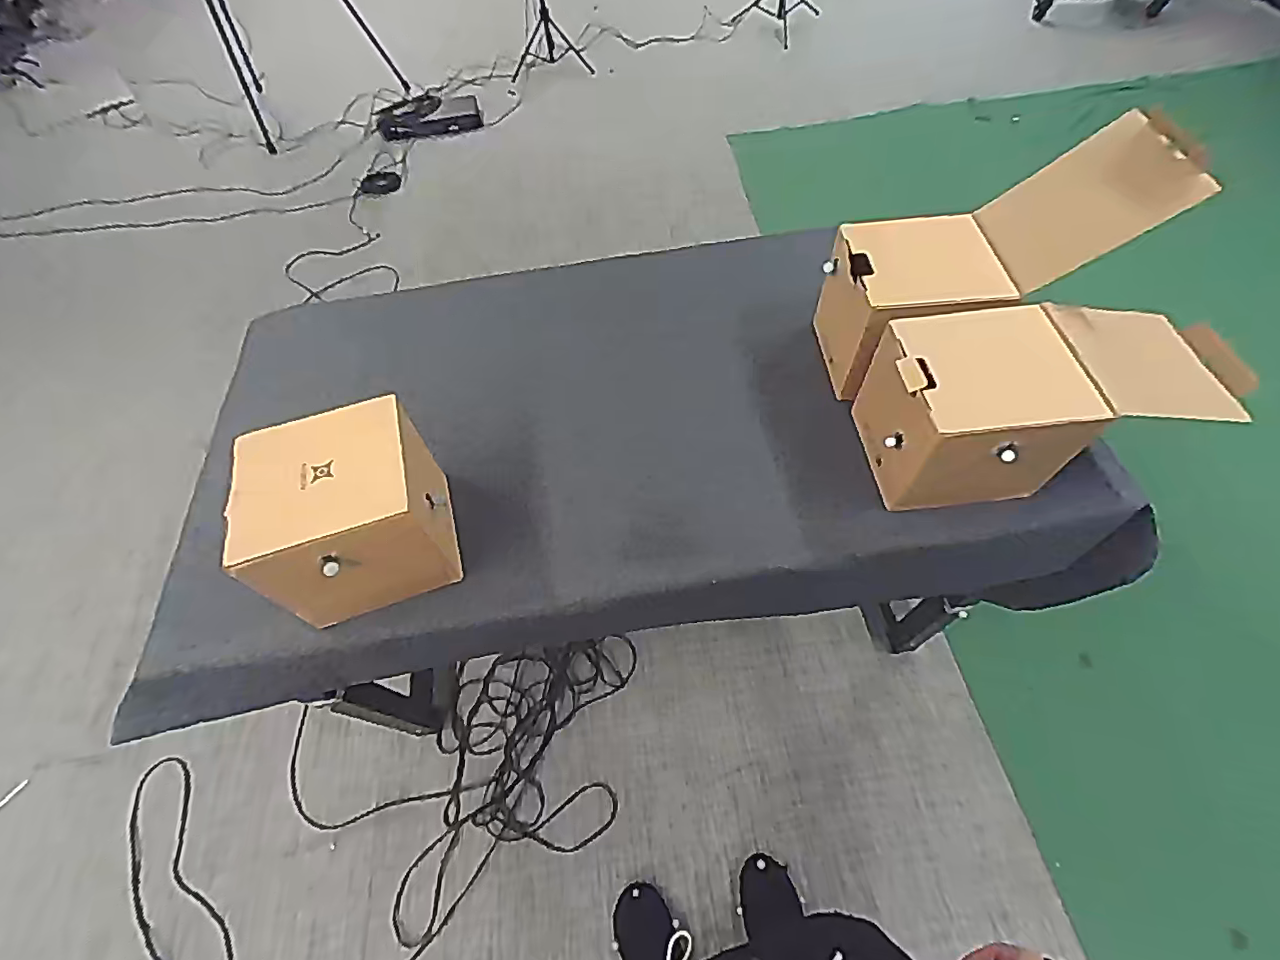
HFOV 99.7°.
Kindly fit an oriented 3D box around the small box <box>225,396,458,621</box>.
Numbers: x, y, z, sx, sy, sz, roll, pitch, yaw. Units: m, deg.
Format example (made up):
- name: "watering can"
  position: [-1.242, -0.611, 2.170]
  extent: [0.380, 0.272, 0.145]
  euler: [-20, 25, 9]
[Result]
- name: "small box"
  position: [-0.322, 0.038, 0.619]
  extent: [0.179, 0.176, 0.168]
  euler: [-18, 57, -7]
